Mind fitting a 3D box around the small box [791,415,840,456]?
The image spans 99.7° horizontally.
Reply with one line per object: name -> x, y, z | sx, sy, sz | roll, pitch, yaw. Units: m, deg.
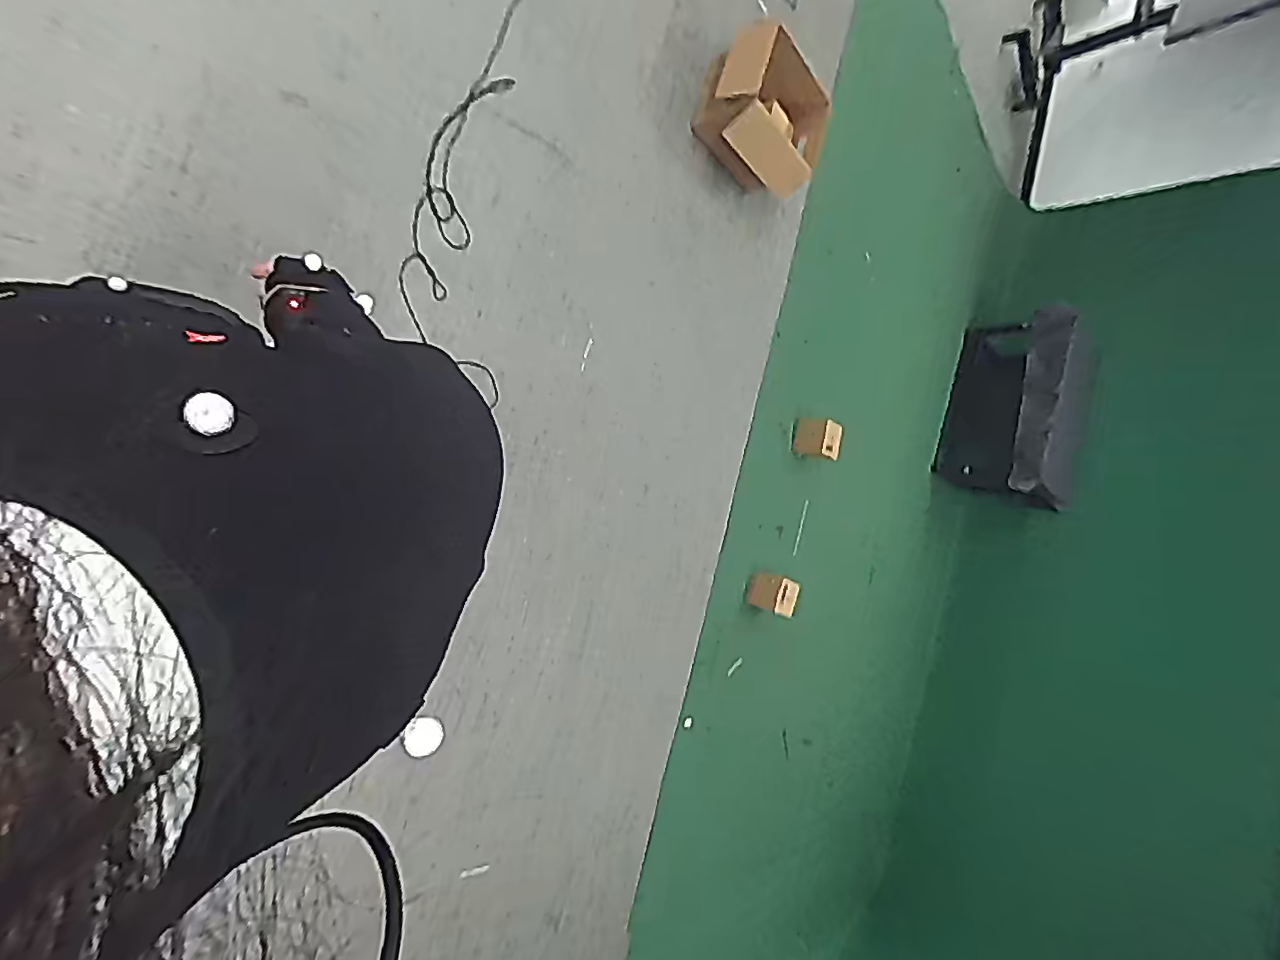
small box -> 0.904, -0.230, 2.795 | 0.168, 0.176, 0.179 | 15, 85, -44
